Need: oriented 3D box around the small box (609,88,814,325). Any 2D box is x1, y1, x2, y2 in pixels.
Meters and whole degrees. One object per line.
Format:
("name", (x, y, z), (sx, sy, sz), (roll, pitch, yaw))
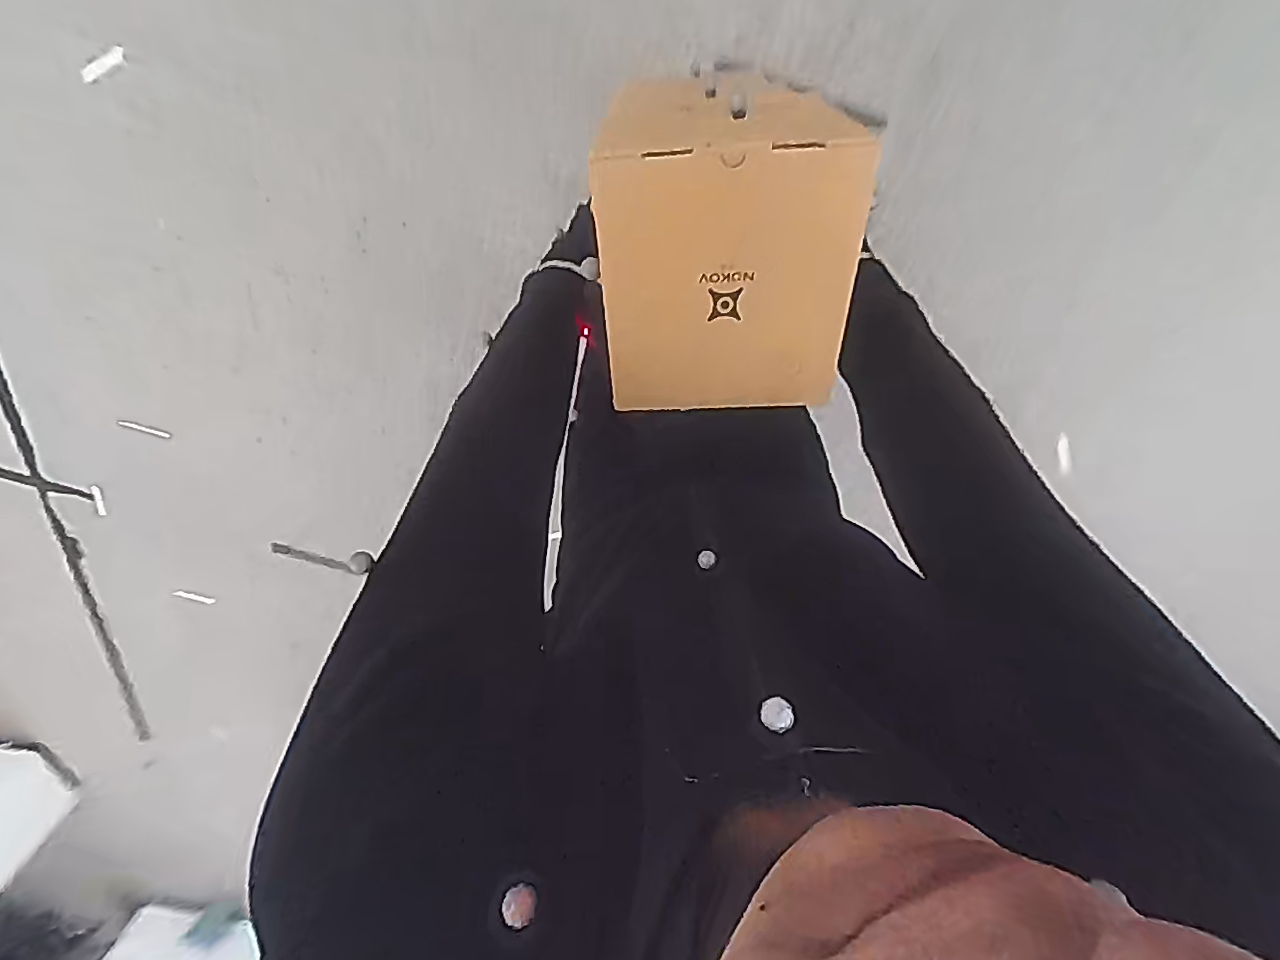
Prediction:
("small box", (0.061, -0.274, 0.537), (0.168, 0.176, 0.179), (-2, 132, 4))
